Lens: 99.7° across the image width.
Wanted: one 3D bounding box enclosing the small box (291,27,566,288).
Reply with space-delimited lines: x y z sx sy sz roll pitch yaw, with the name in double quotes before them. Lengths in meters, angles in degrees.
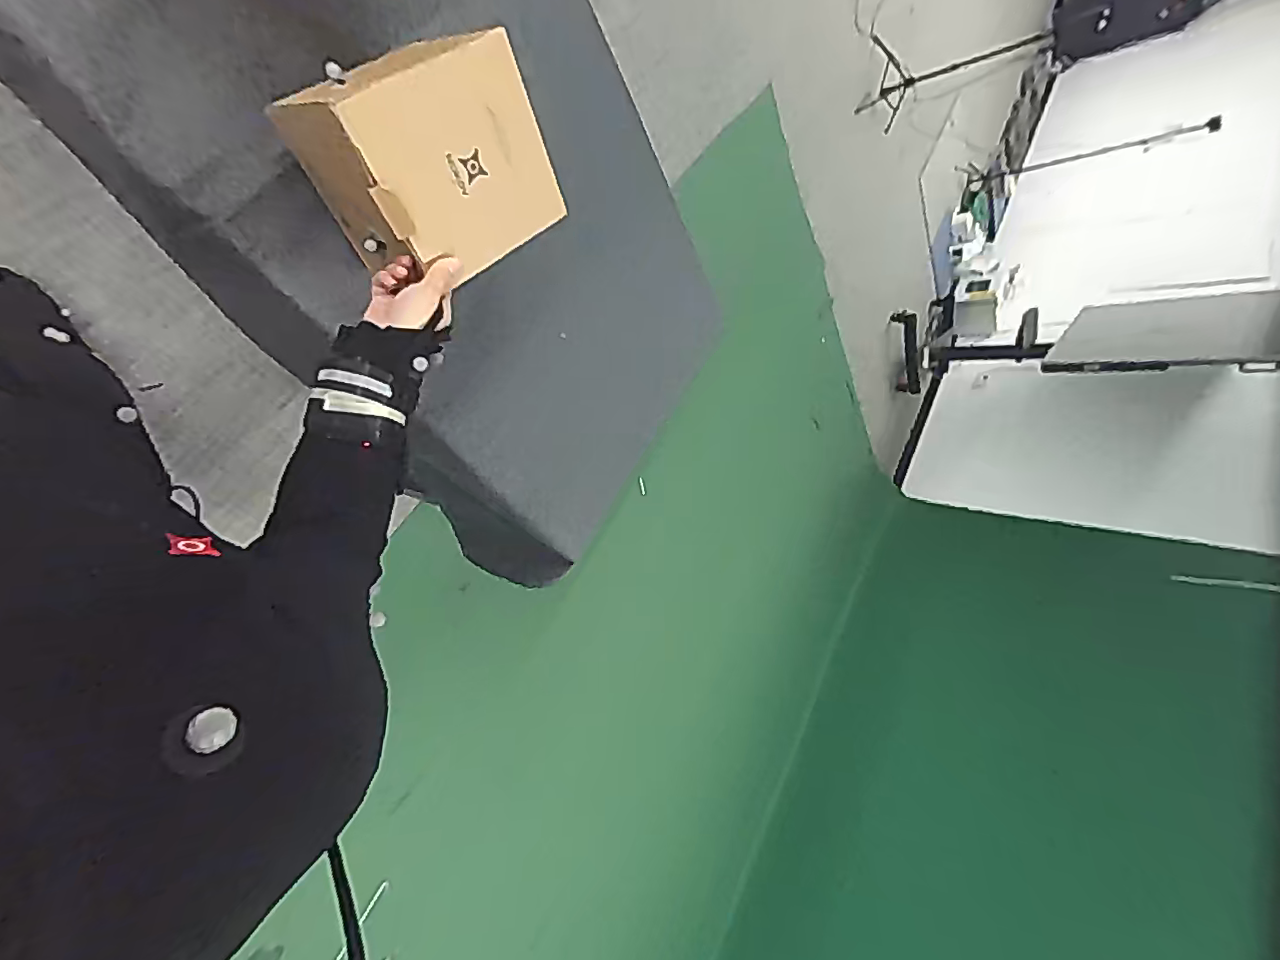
"small box" -0.213 -0.321 0.547 0.179 0.176 0.168 -46 141 -23
